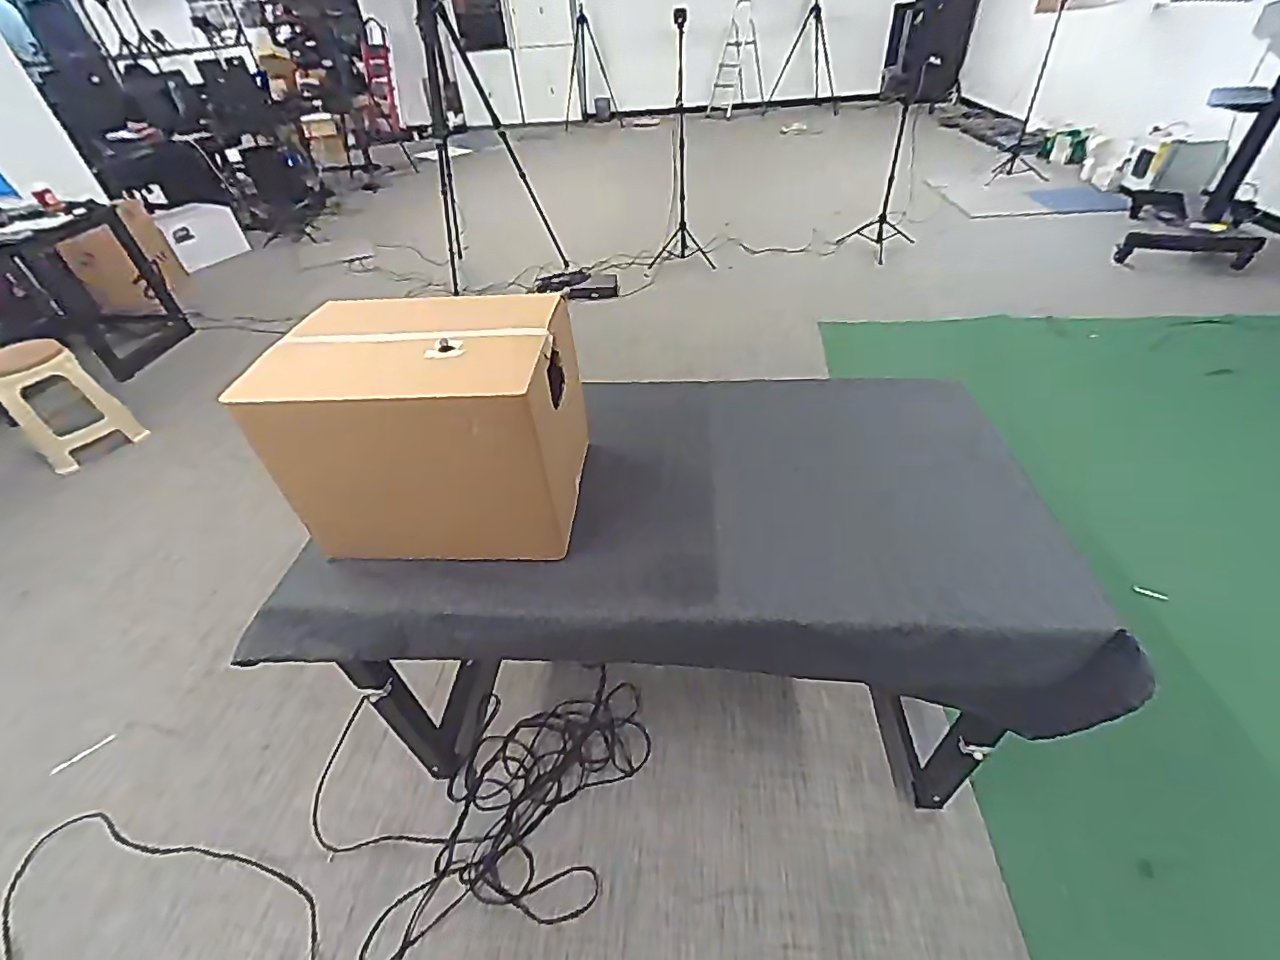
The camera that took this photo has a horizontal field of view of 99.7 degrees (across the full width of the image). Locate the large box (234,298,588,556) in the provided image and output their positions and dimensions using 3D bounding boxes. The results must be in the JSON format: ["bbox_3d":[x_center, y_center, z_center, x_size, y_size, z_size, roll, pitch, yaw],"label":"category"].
[{"bbox_3d":[-0.312,-0.087,0.885,0.408,0.320,0.320,0,42,3],"label":"large box"}]
